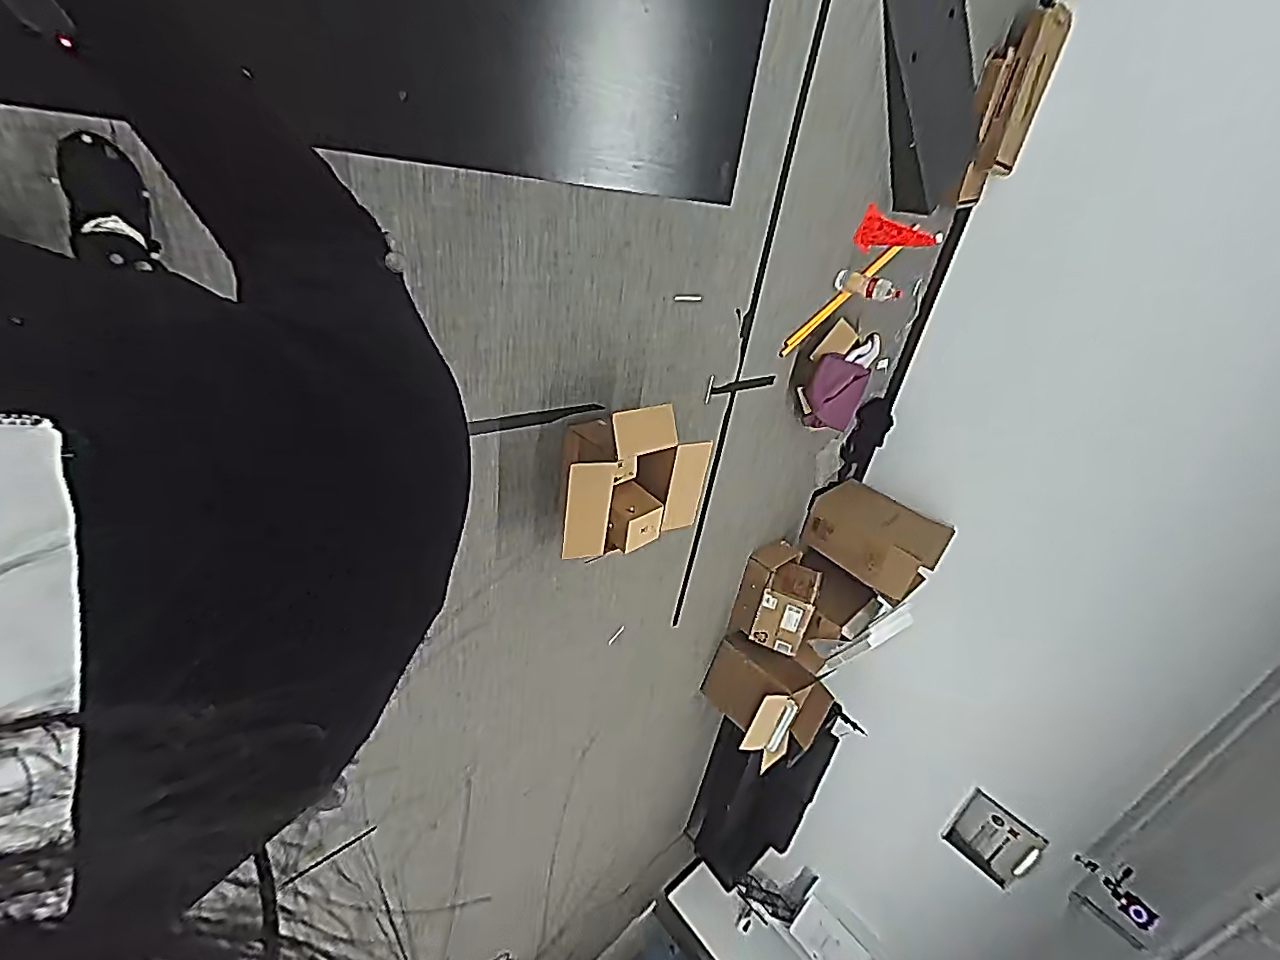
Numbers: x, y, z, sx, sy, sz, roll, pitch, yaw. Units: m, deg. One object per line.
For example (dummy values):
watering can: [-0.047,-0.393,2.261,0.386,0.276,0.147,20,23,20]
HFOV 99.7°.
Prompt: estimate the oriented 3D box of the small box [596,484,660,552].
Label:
small box: [-0.050,0.142,2.074,0.179,0.176,0.168,-23,136,-36]
